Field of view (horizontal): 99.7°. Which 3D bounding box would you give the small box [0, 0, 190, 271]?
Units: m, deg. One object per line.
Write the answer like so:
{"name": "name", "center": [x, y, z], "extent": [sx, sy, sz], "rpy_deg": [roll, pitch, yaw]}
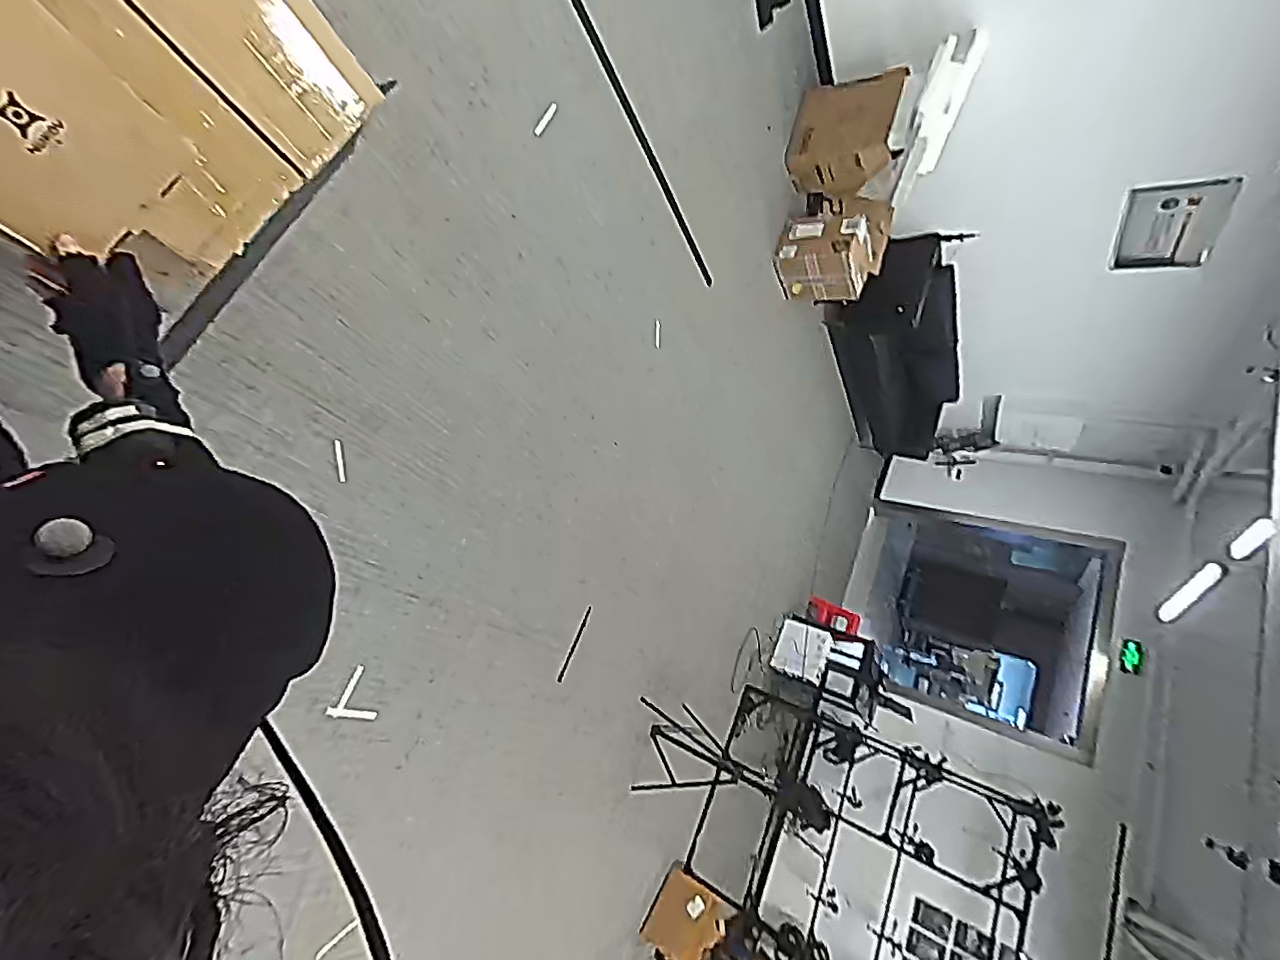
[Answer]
{"name": "small box", "center": [-0.559, -0.314, 0.458], "extent": [0.168, 0.176, 0.179], "rpy_deg": [-63, 155, -14]}
